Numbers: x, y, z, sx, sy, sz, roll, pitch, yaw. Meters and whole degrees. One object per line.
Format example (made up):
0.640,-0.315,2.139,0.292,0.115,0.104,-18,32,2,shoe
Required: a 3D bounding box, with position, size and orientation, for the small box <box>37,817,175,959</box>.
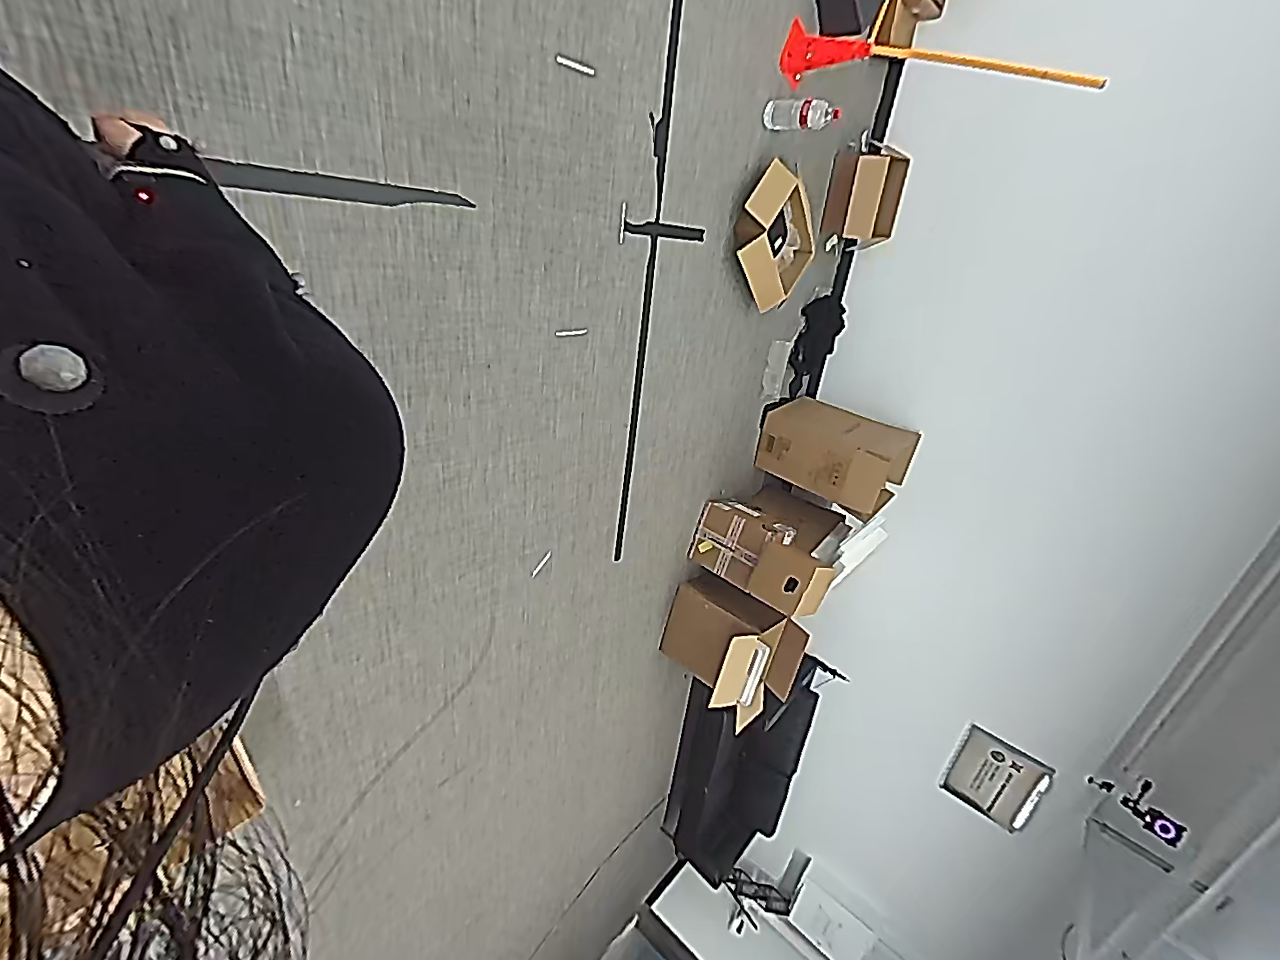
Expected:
-1.187,0.905,1.205,0.168,0.176,0.179,-27,132,-43,small box
